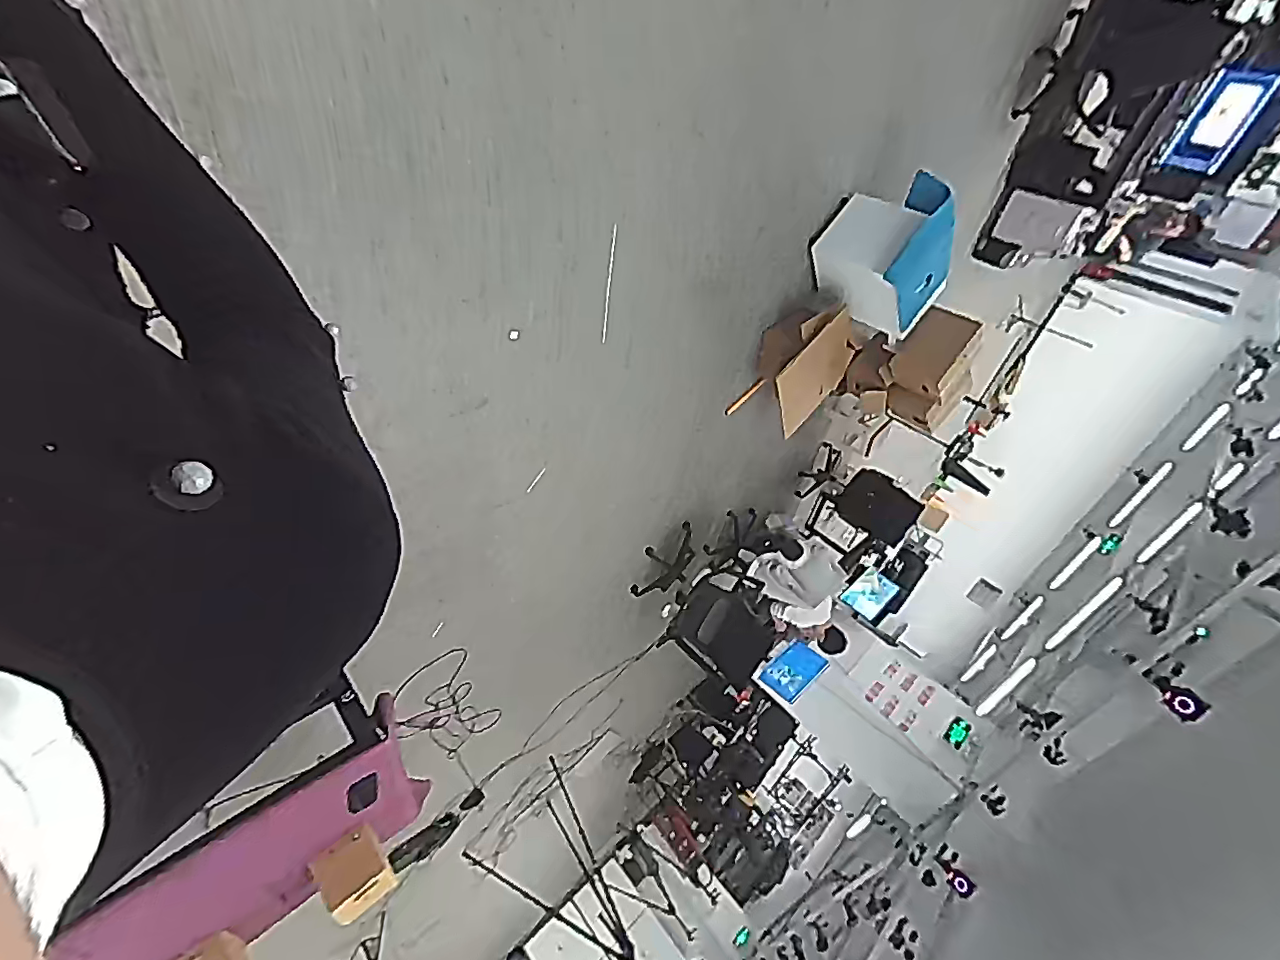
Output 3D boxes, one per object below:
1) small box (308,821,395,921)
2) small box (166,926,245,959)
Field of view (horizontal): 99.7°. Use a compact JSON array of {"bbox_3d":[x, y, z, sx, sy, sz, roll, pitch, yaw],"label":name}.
[{"bbox_3d":[-0.877,1.184,1.646,0.168,0.176,0.179,-28,144,-33],"label":"small box"},{"bbox_3d":[-1.164,1.343,1.437,0.168,0.176,0.179,-27,141,-36],"label":"small box"}]
